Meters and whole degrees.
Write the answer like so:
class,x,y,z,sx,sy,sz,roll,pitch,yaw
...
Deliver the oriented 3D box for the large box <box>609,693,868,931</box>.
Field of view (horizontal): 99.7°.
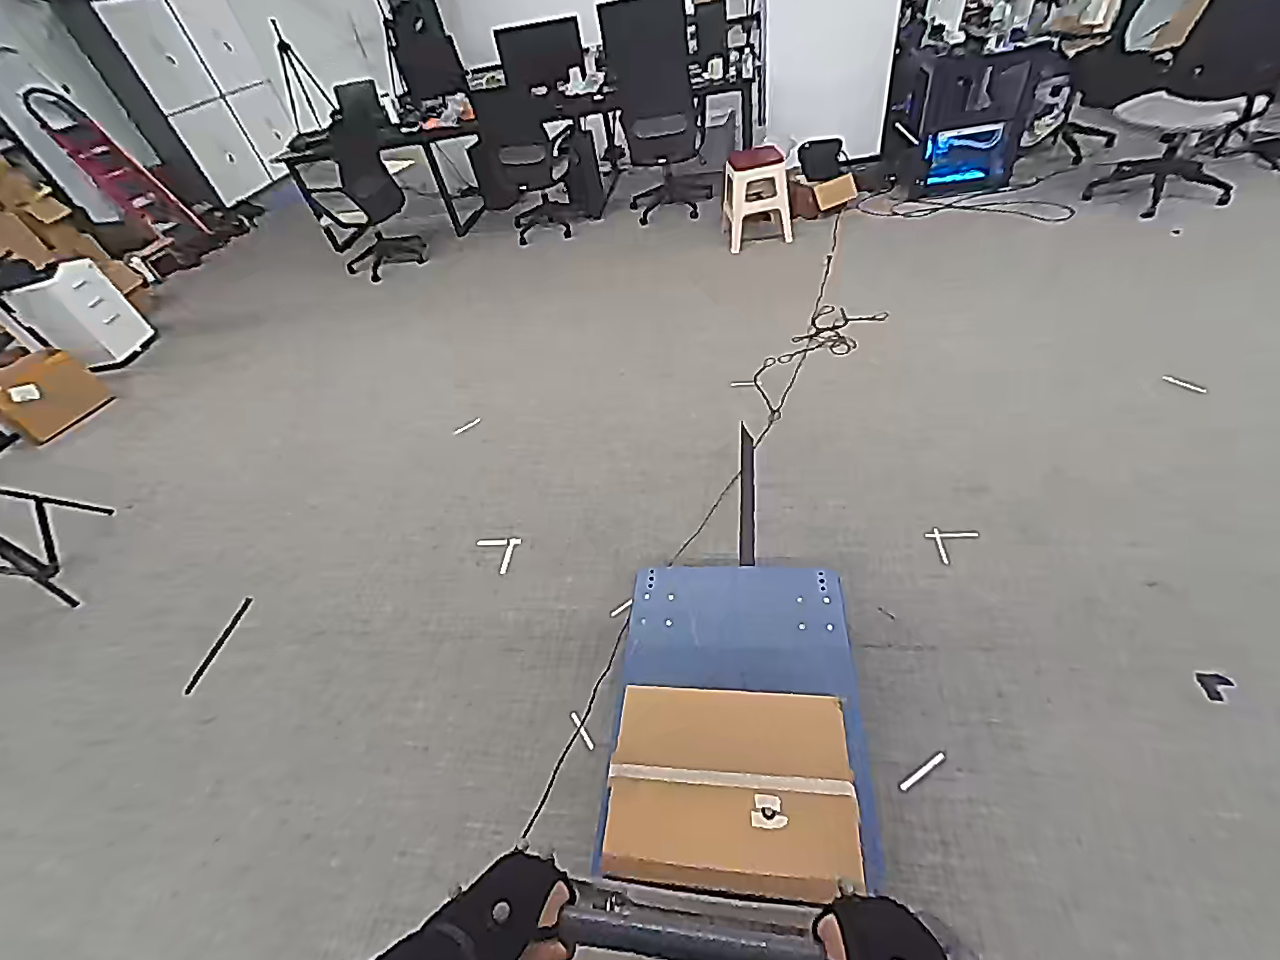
class,x,y,z,sx,sy,sz,roll,pitch,yaw
large box,0.179,0.630,1.036,0.408,0.320,0.320,-2,46,11
